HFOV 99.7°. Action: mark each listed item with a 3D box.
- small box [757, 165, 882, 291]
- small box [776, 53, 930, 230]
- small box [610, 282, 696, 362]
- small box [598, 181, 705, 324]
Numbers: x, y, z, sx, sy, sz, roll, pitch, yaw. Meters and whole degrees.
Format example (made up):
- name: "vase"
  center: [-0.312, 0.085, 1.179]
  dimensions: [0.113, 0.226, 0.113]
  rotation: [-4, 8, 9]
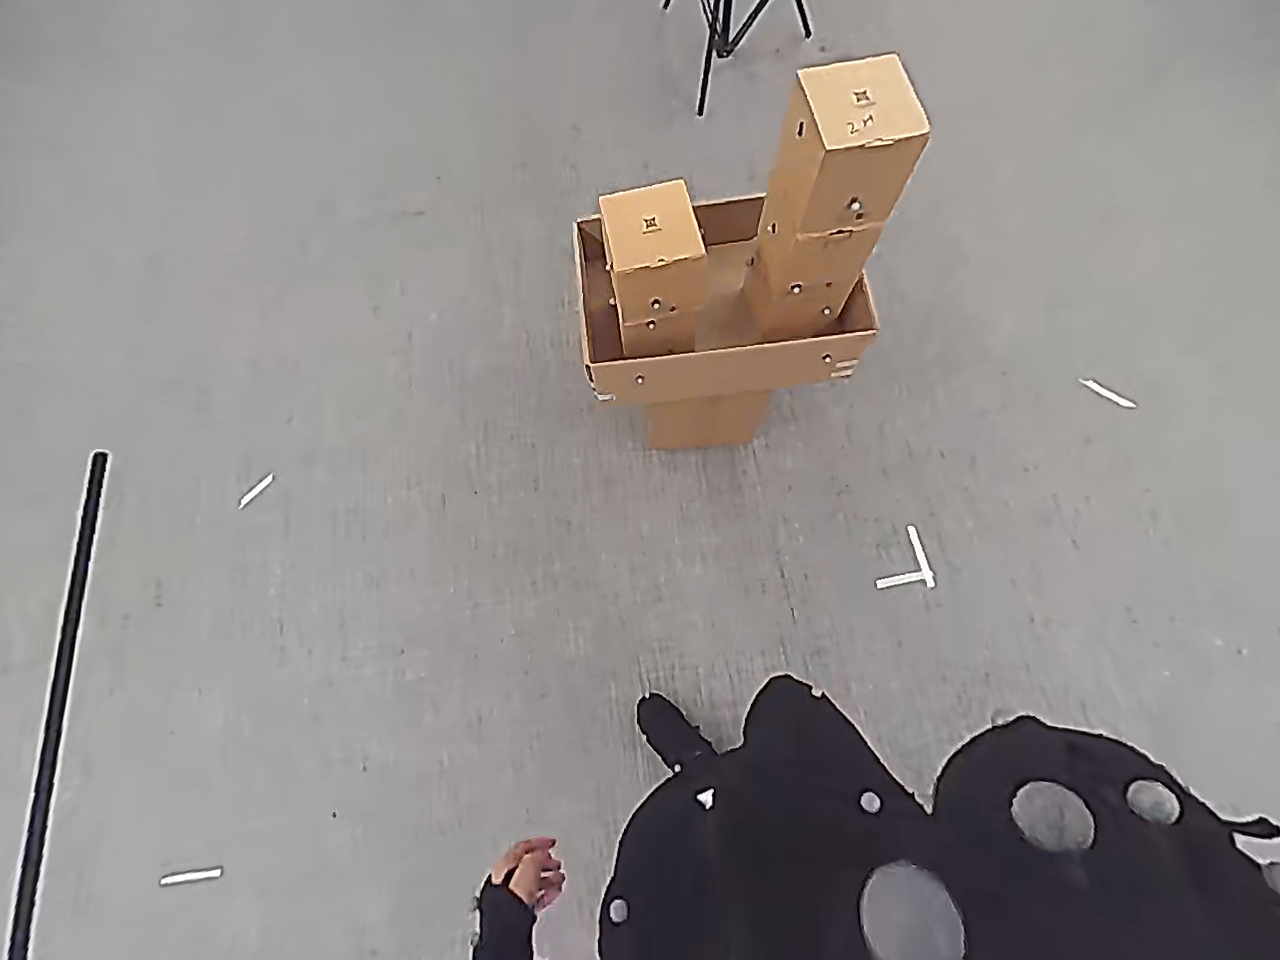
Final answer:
- name: "small box"
  center: [0.337, -0.489, 1.050]
  dimensions: [0.168, 0.176, 0.179]
  rotation: [-10, 72, -1]
- name: "small box"
  center: [0.337, -0.553, 0.897]
  dimensions: [0.168, 0.176, 0.179]
  rotation: [-10, 73, -1]
- name: "small box"
  center: [0.025, -0.391, 1.206]
  dimensions: [0.168, 0.176, 0.179]
  rotation: [-11, 72, 0]
- name: "small box"
  center: [0.020, -0.434, 1.049]
  dimensions: [0.168, 0.176, 0.179]
  rotation: [-13, 74, -1]
